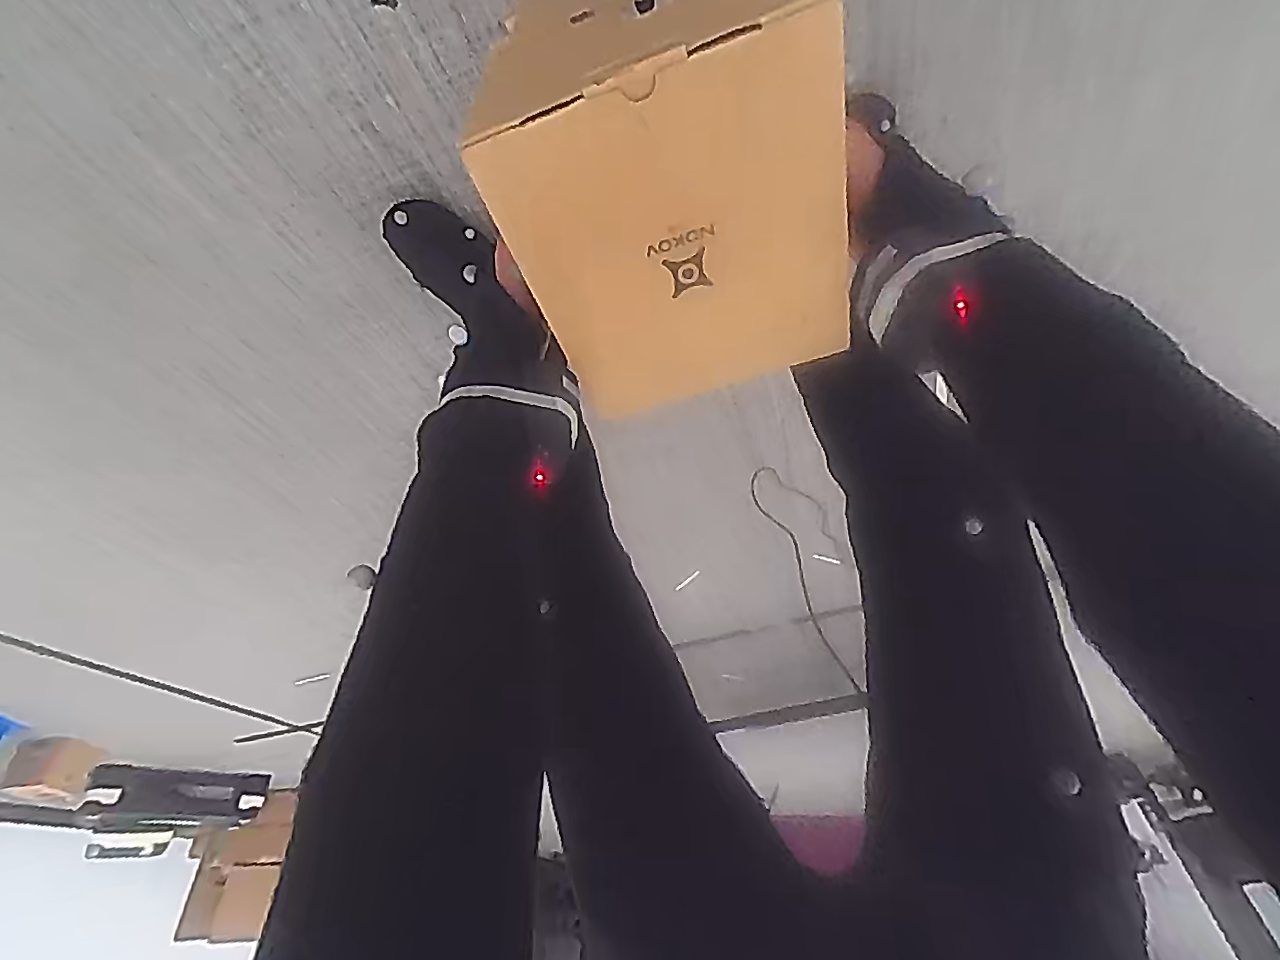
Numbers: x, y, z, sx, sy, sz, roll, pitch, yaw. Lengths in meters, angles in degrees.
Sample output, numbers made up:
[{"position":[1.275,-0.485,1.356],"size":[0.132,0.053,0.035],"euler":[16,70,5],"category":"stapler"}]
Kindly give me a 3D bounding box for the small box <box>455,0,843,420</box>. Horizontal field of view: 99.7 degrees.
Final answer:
[{"position":[0.016,-0.171,0.333],"size":[0.168,0.176,0.179],"euler":[-15,138,11],"category":"small box"}]
